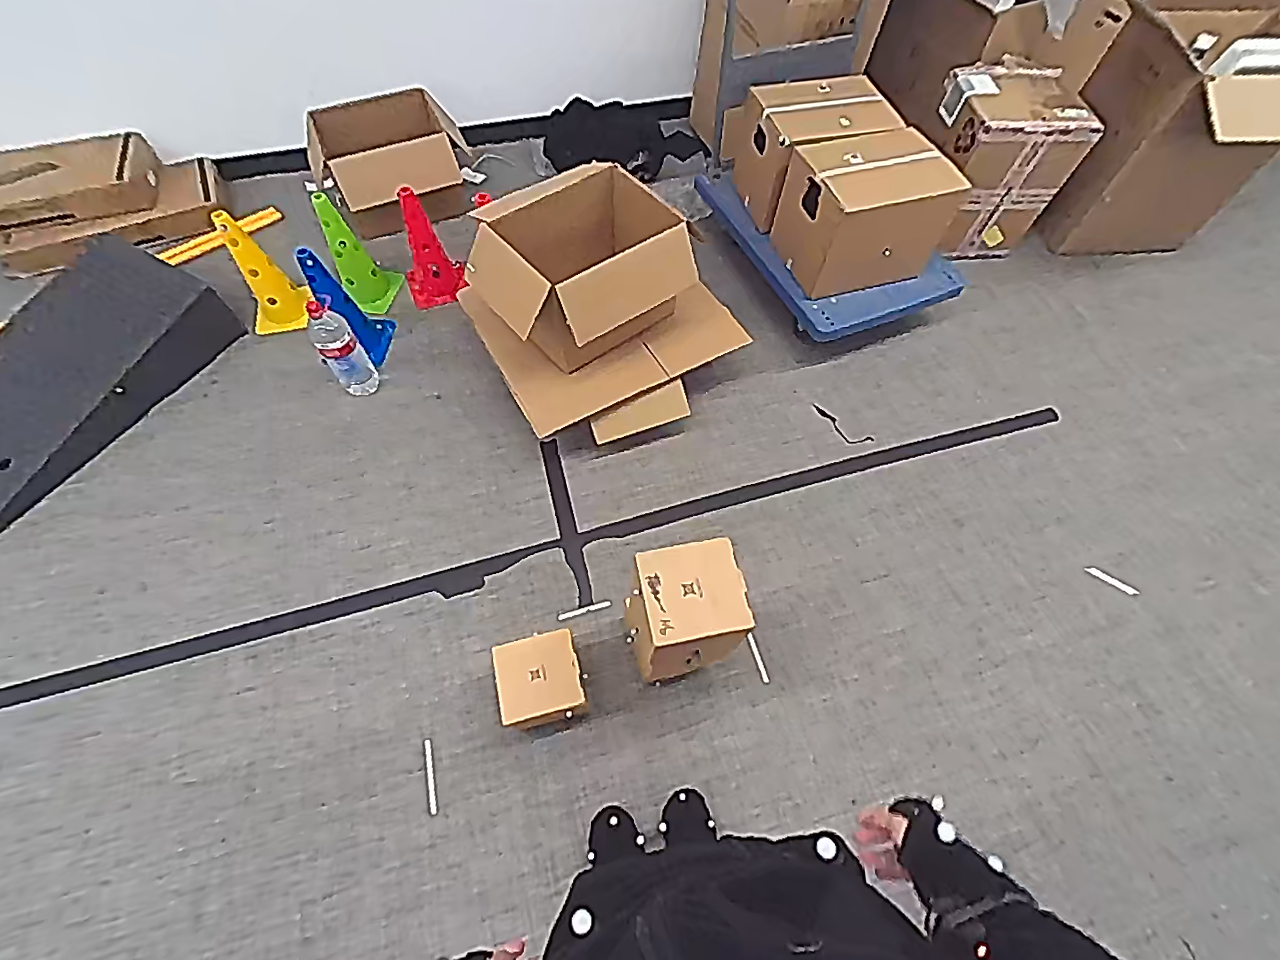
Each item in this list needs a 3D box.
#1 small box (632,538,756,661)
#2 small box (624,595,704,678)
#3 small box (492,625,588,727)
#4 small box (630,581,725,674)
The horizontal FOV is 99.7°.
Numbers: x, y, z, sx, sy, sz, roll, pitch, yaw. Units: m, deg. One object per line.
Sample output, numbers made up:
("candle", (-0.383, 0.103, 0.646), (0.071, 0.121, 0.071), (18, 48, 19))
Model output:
("small box", (0.088, 0.221, 0.985), (0.179, 0.176, 0.168), (-8, 63, -8))
("small box", (0.063, 0.359, 1.282), (0.168, 0.176, 0.179), (-13, 63, -10))
("small box", (-0.222, 0.447, 1.223), (0.179, 0.176, 0.168), (-13, 63, -10))
("small box", (0.080, 0.295, 1.131), (0.179, 0.176, 0.168), (-11, 64, -9))
